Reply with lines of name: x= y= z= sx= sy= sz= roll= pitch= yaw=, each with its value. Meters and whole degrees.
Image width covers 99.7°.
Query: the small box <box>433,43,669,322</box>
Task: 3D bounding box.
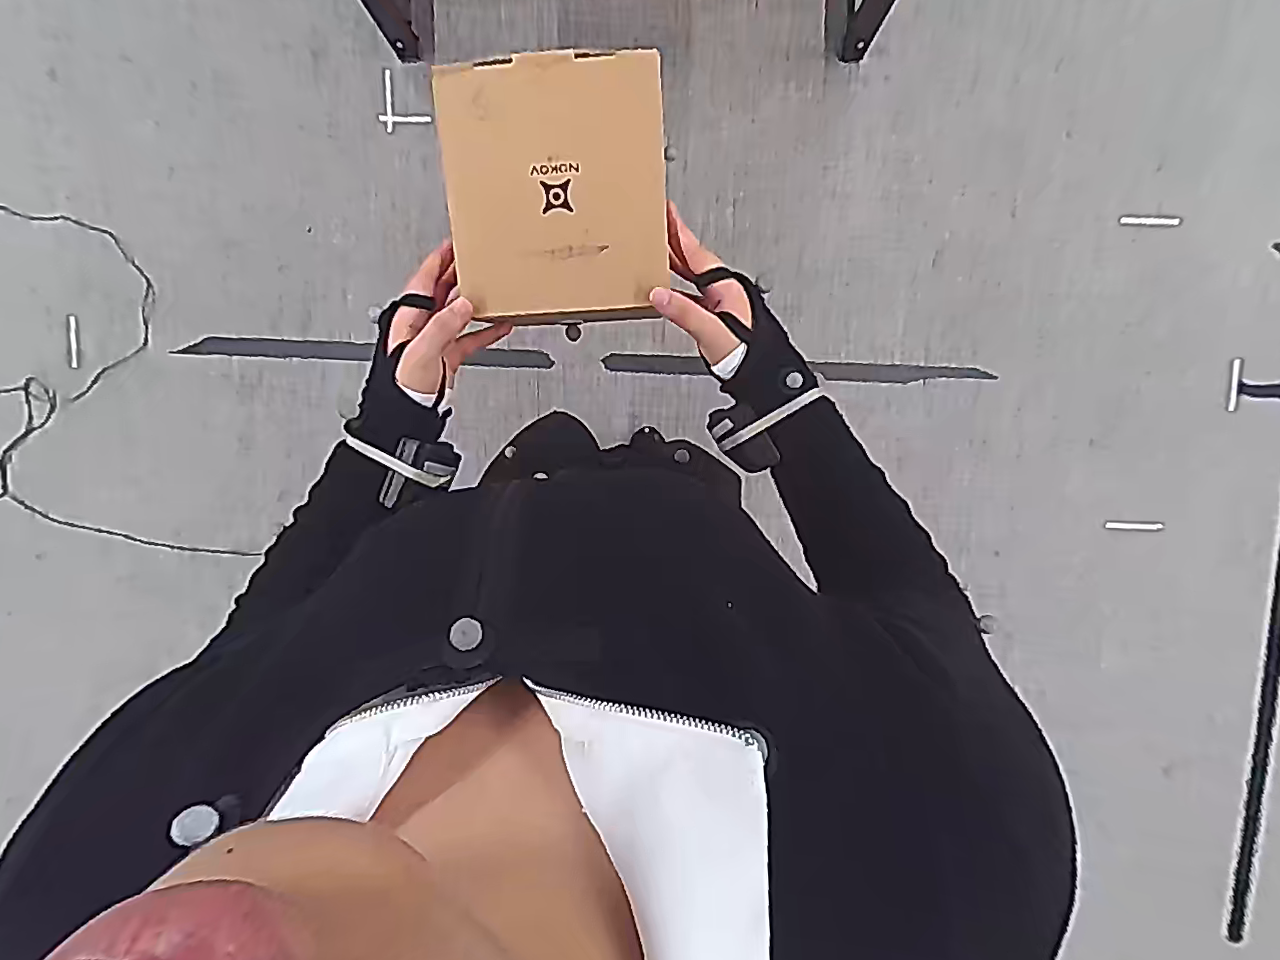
small box: x=-0.063 y=-0.239 z=0.479 sx=0.168 sy=0.176 sz=0.179 roll=-3 pitch=104 yaw=1

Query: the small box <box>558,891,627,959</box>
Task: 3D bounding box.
small box: x=-0.122 y=1.218 z=1.412 sx=0.168 sy=0.176 sz=0.179 roll=-1 pitch=95 yaw=1
